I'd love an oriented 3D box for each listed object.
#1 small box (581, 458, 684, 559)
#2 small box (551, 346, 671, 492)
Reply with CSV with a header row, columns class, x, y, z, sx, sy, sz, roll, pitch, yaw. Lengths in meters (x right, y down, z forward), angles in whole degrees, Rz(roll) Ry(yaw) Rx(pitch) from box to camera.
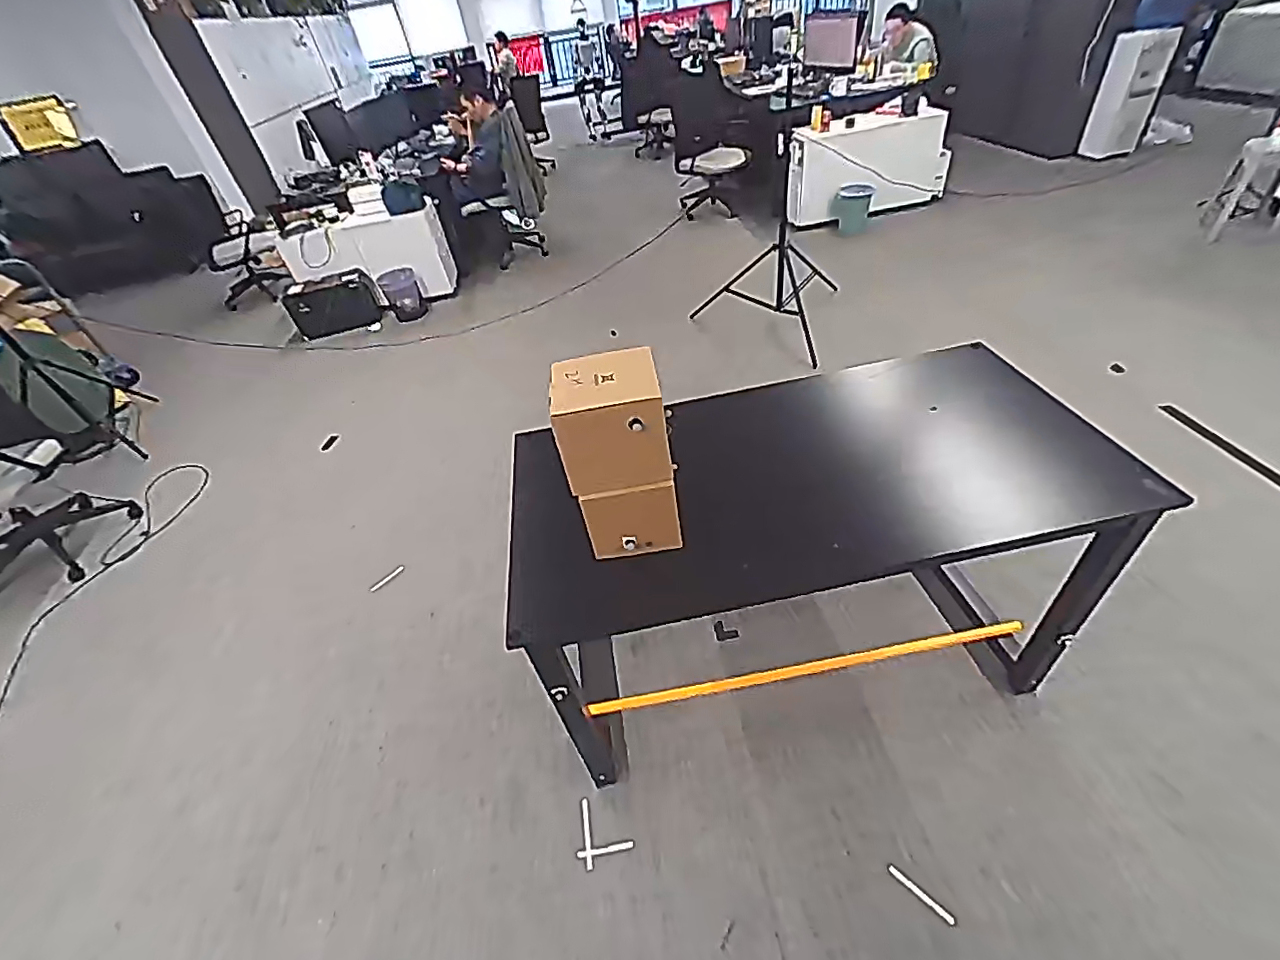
class,x,y,z,sx,sy,sz,roll,pitch,yaw
small box,-0.015,0.023,1.025,0.168,0.176,0.179,-10,43,2
small box,-0.043,-0.101,0.919,0.179,0.176,0.168,-10,41,2
